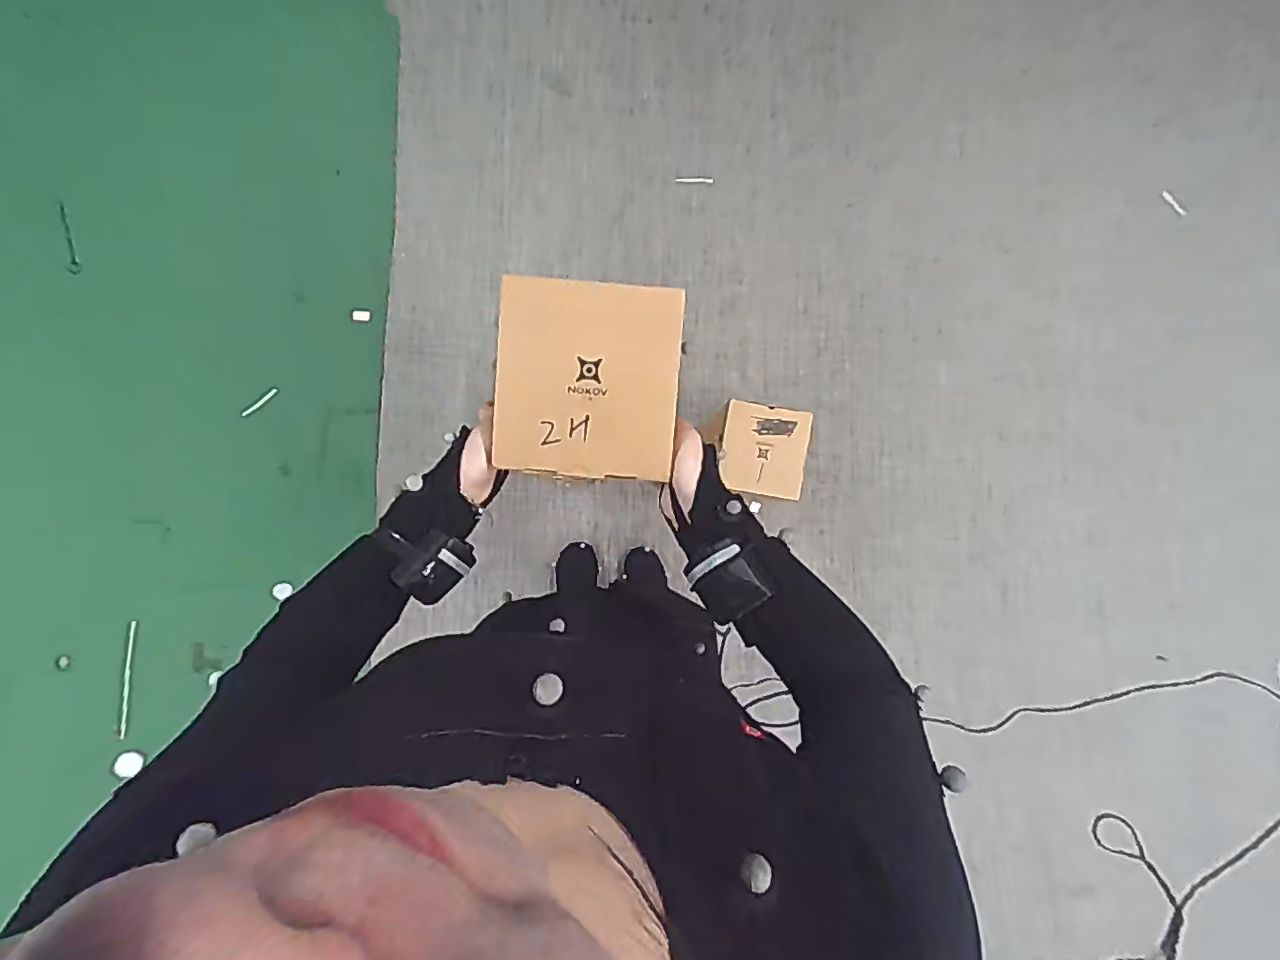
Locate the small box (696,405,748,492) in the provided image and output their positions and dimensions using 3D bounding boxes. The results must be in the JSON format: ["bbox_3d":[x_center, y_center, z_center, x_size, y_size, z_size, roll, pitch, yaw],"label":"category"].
[{"bbox_3d":[0.232,-0.068,1.292,0.168,0.176,0.179,9,88,0],"label":"small box"}]

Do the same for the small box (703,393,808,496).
[{"bbox_3d":[0.232,-0.067,1.128,0.168,0.176,0.179,11,89,0],"label":"small box"}]

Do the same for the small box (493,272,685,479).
[{"bbox_3d":[-0.049,-0.103,0.574,0.168,0.176,0.179,5,97,0],"label":"small box"}]
